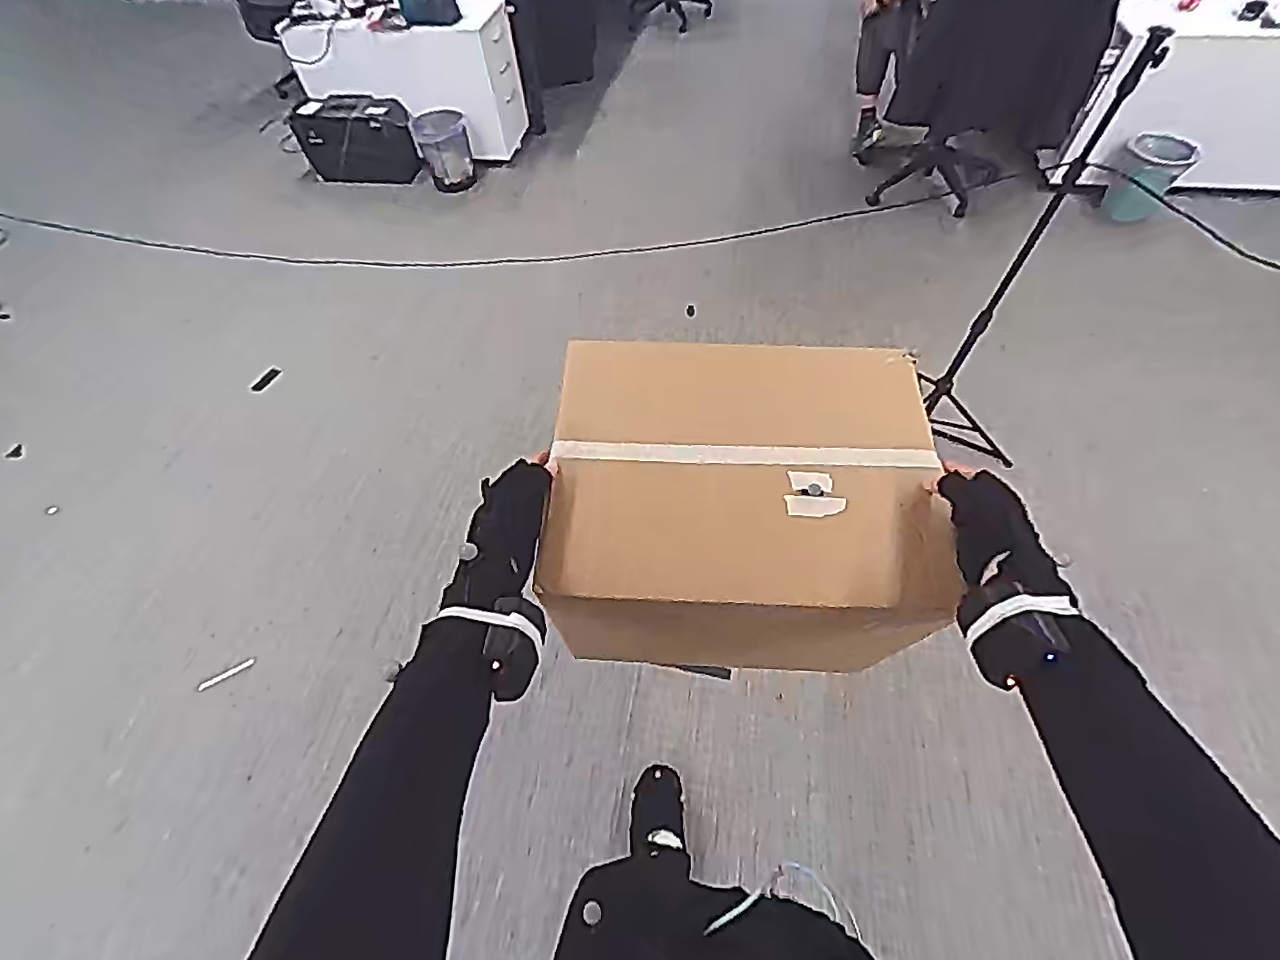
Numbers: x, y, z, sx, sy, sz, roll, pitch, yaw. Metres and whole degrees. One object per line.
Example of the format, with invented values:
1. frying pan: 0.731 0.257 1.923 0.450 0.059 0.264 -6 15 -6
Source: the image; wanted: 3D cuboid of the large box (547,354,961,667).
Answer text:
1. large box: 0.112 0.055 0.716 0.408 0.320 0.320 2 61 2
